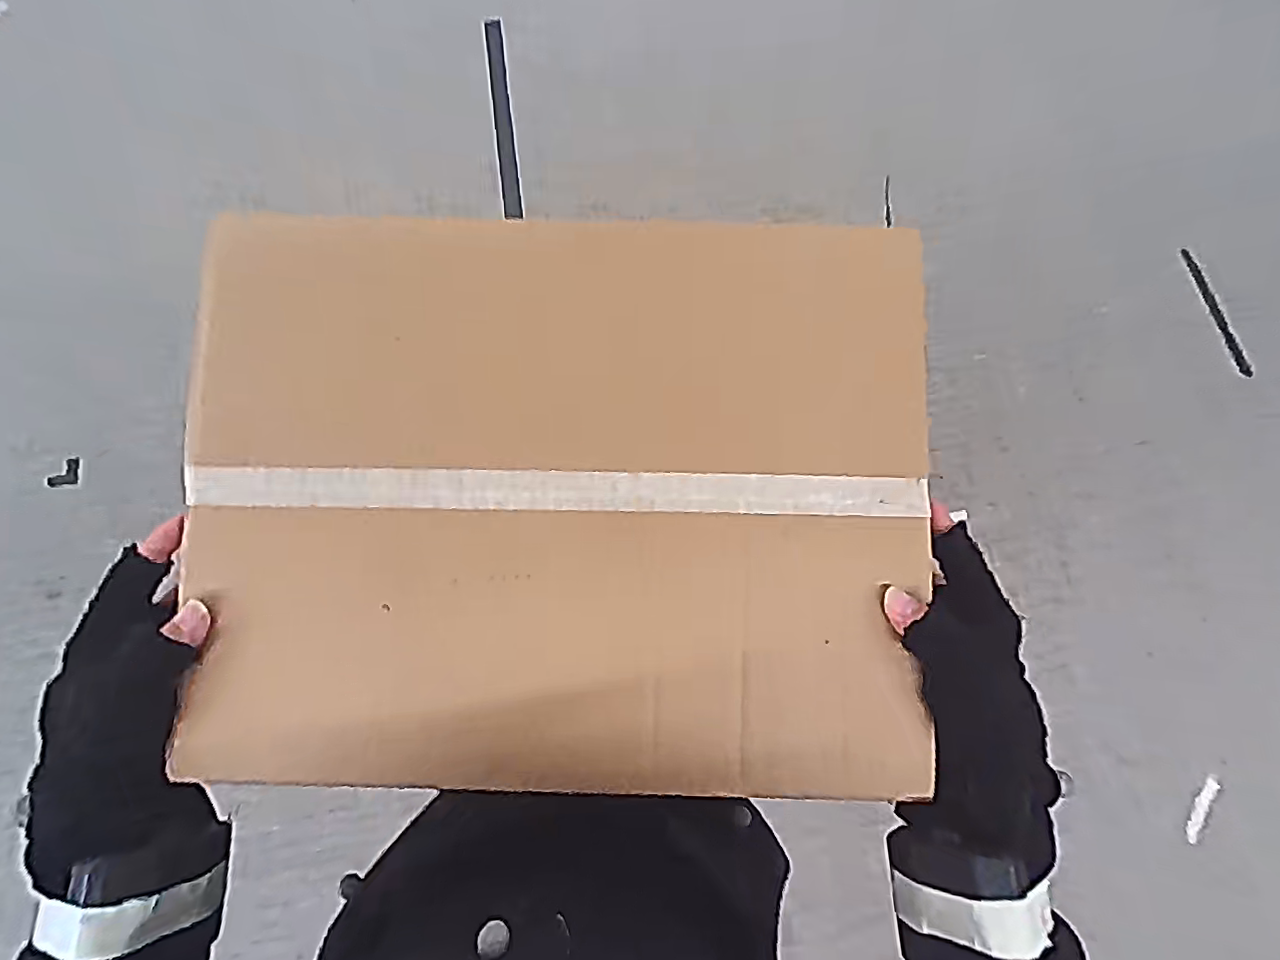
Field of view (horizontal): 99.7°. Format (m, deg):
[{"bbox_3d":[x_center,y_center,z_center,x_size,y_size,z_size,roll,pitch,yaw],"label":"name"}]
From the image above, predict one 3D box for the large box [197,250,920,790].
[{"bbox_3d":[-0.045,0.030,0.457,0.408,0.320,0.320,1,86,0],"label":"large box"}]
